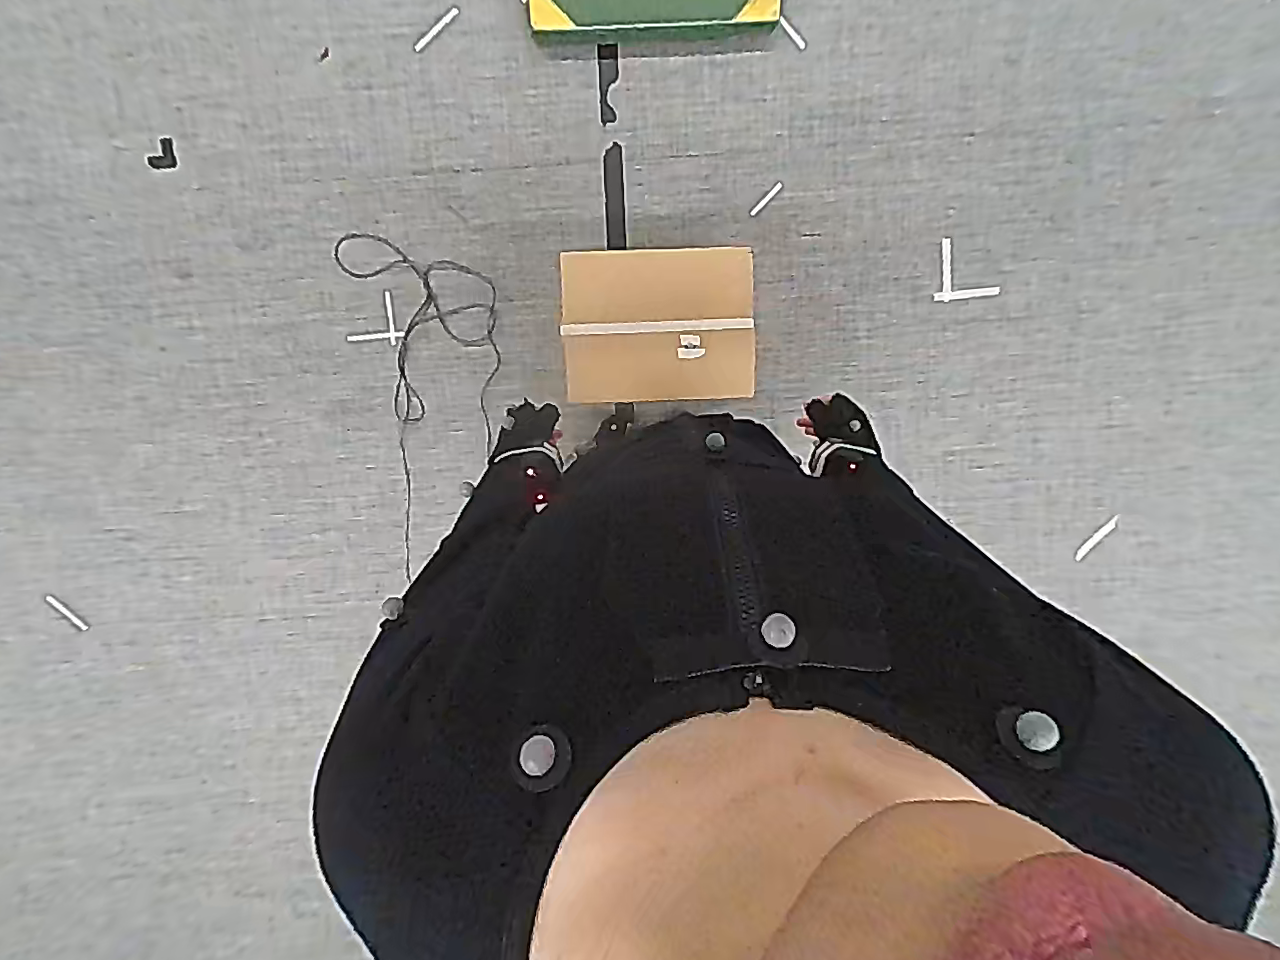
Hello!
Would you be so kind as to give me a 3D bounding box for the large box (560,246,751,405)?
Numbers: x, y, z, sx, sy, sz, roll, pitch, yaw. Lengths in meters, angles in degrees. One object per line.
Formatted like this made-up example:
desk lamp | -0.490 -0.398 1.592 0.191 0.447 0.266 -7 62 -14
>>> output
large box | 0.032 -0.349 1.302 0.408 0.320 0.320 -3 98 -1
